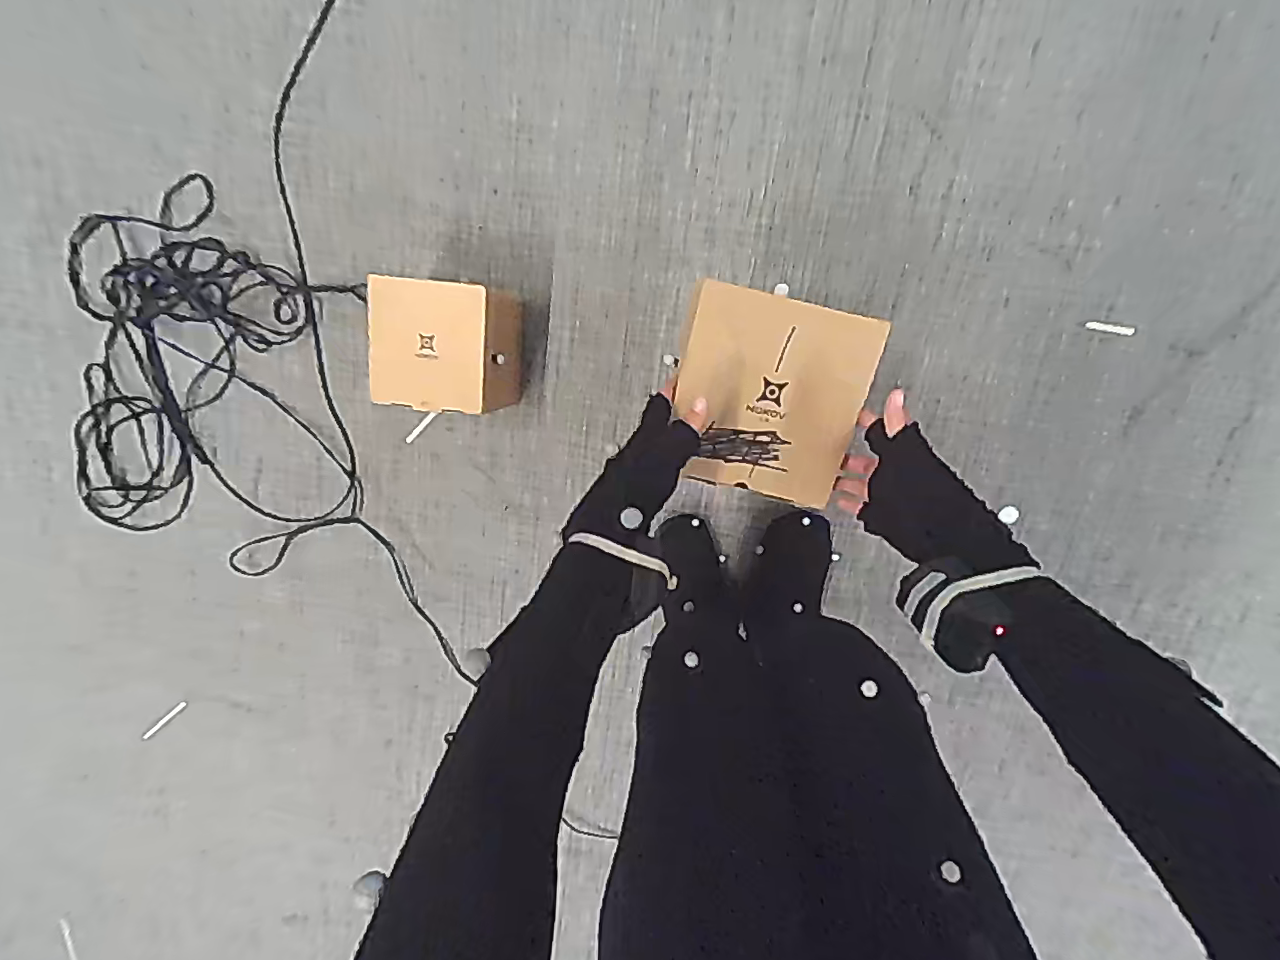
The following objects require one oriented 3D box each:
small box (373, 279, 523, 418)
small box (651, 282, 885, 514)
[{"bbox_3d":[-0.284,-0.199,0.828,0.168,0.176,0.179,7,105,4],"label":"small box"},{"bbox_3d":[0.113,-0.091,0.552,0.168,0.176,0.179,13,108,-2],"label":"small box"}]
